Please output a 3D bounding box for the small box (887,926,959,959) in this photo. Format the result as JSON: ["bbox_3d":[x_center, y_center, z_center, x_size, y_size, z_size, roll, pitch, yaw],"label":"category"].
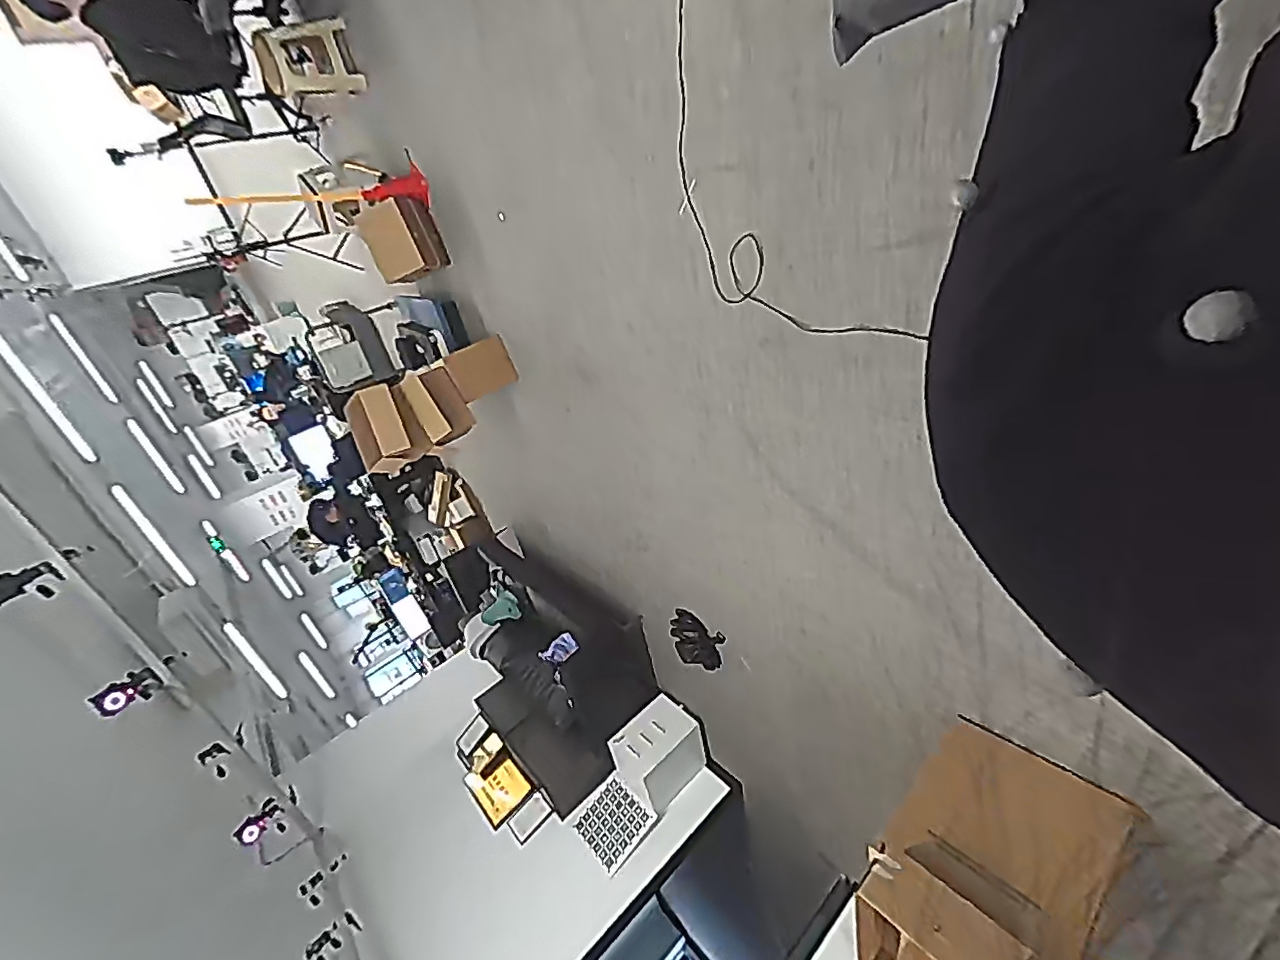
[{"bbox_3d":[0.824,1.435,1.547,0.179,0.176,0.168,22,137,48],"label":"small box"}]
